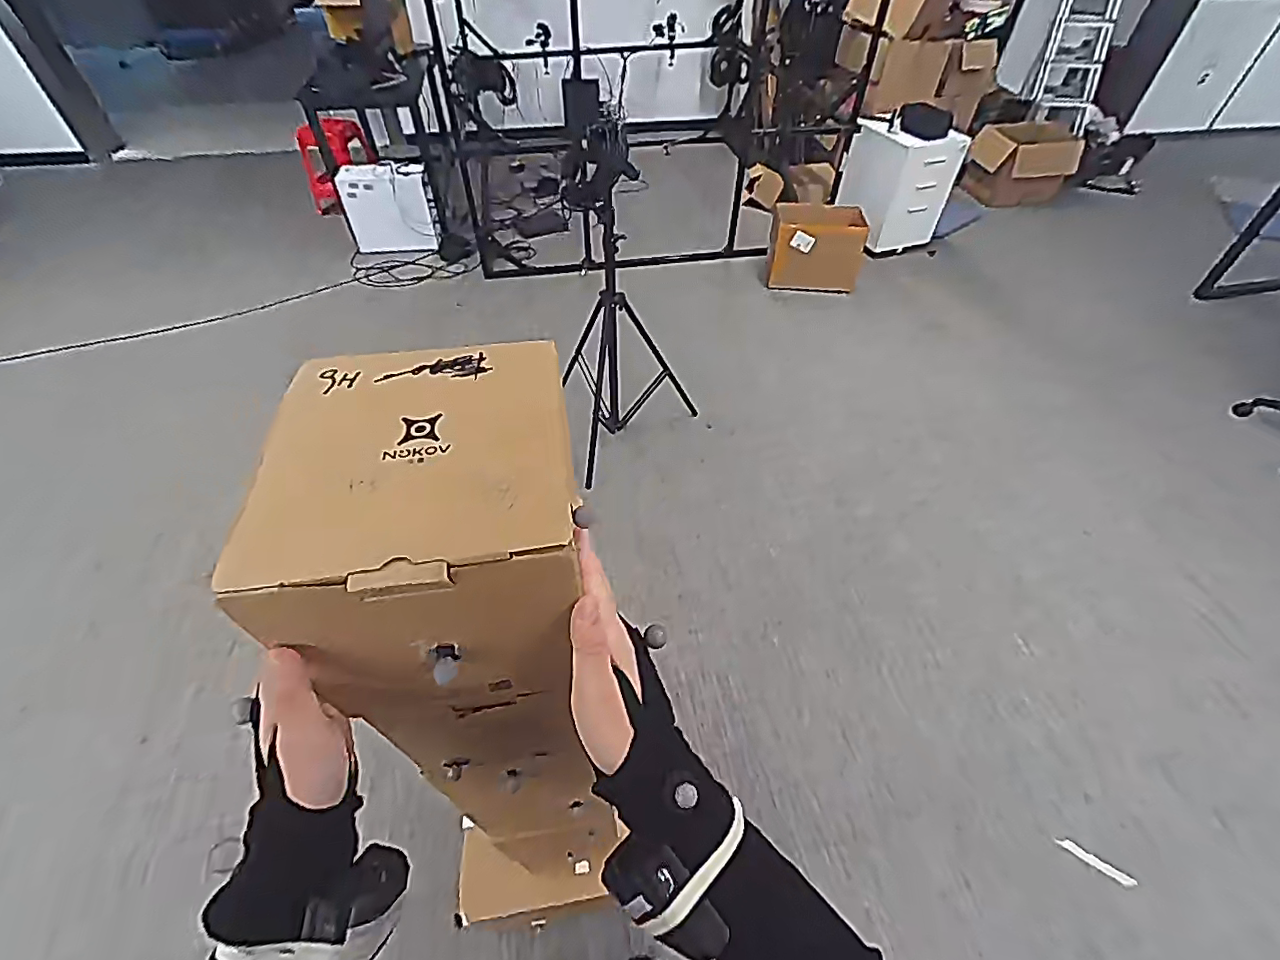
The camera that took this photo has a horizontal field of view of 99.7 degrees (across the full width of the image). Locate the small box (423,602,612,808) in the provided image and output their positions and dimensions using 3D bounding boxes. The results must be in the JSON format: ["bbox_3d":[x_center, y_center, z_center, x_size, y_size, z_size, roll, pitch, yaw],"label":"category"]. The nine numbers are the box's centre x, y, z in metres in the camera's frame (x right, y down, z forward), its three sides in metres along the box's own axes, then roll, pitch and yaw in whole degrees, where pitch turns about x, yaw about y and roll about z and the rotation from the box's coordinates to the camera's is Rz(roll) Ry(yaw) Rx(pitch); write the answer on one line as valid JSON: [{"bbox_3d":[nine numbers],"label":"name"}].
[{"bbox_3d":[-0.125,0.255,0.614,0.179,0.176,0.168,-6,49,-6],"label":"small box"}]

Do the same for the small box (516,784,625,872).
[{"bbox_3d":[-0.126,0.585,0.976,0.179,0.176,0.168,-8,50,-9],"label":"small box"}]

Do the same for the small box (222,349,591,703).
[{"bbox_3d":[-0.125,0.036,0.369,0.168,0.176,0.179,-6,50,-7],"label":"small box"}]

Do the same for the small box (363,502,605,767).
[{"bbox_3d":[-0.122,0.144,0.492,0.168,0.176,0.179,-5,47,-6],"label":"small box"}]

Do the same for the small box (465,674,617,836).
[{"bbox_3d":[-0.126,0.364,0.733,0.179,0.176,0.168,-6,48,-6],"label":"small box"}]
